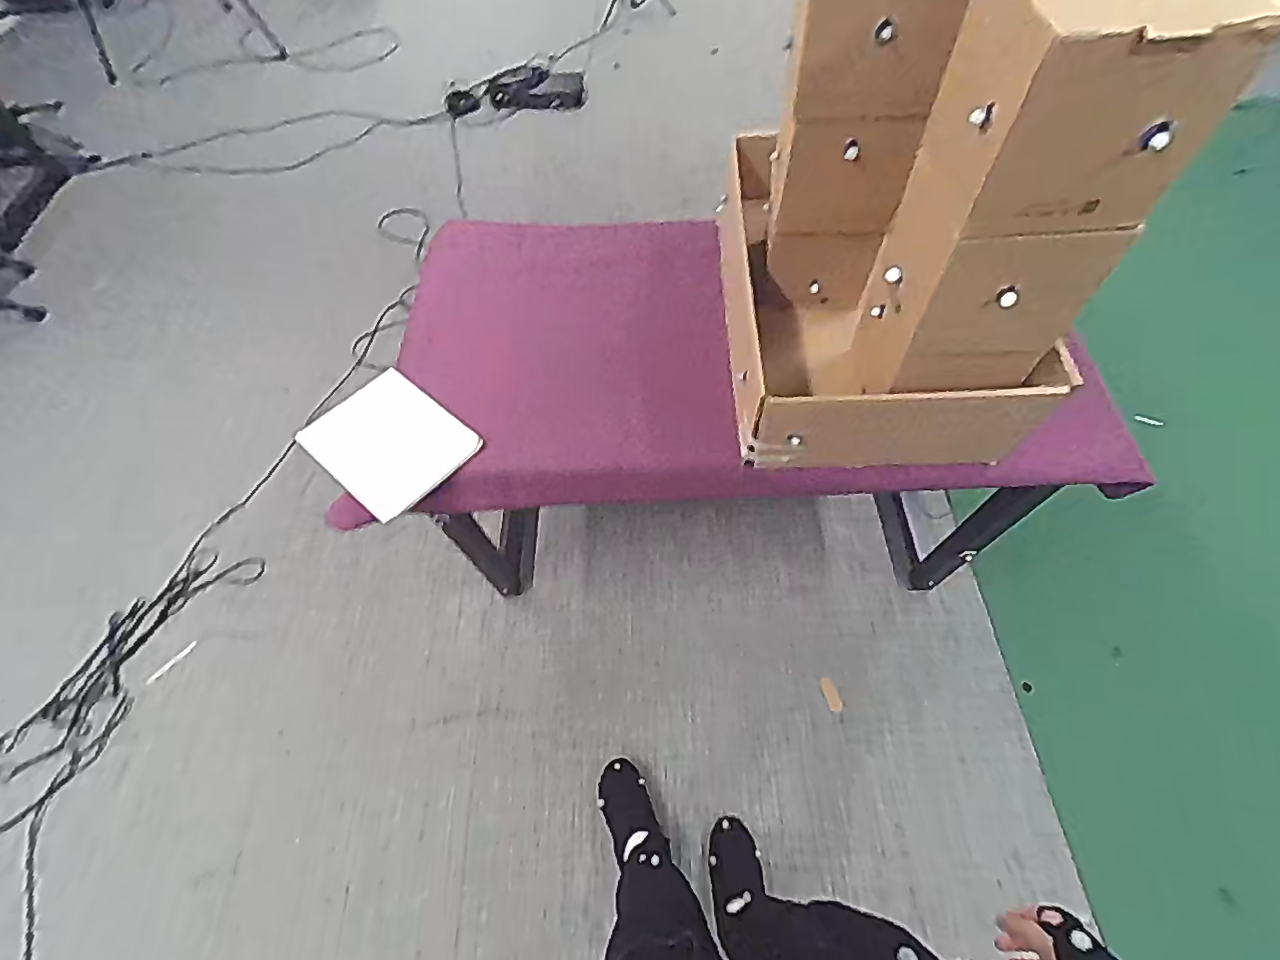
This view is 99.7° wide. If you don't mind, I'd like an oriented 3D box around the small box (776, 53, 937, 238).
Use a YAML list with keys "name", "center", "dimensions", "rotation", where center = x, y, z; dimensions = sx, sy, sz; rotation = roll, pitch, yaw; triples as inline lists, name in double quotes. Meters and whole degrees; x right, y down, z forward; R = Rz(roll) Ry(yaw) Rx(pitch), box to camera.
- name: "small box"
  center: [0.295, -0.468, 0.772]
  dimensions: [0.179, 0.176, 0.168]
  rotation: [3, 63, 7]

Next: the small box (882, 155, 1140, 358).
- name: "small box"
  center: [0.409, -0.261, 0.637]
  dimensions: [0.179, 0.176, 0.168]
  rotation: [-1, 59, 7]

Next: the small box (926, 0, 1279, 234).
- name: "small box"
  center: [0.392, -0.349, 0.500]
  dimensions: [0.168, 0.176, 0.179]
  rotation: [0, 59, 6]
